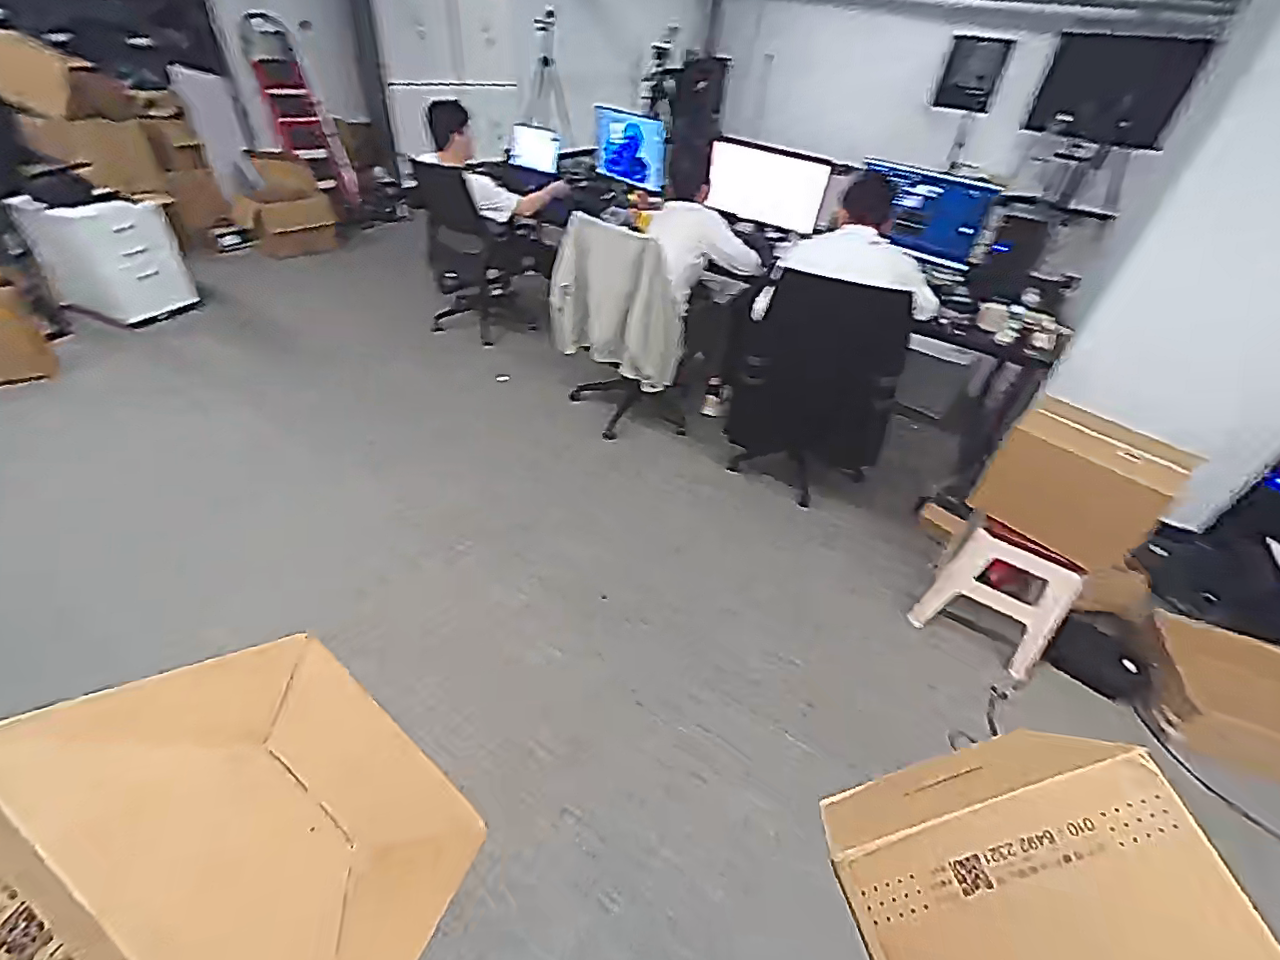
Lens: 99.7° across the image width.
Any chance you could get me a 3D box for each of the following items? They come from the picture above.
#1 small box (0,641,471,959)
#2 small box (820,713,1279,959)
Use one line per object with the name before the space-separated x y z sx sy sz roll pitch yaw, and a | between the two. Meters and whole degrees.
small box | -0.205 0.193 0.230 0.168 0.179 0.176 44 84 4
small box | 0.219 0.248 0.313 0.168 0.179 0.176 -24 65 5
